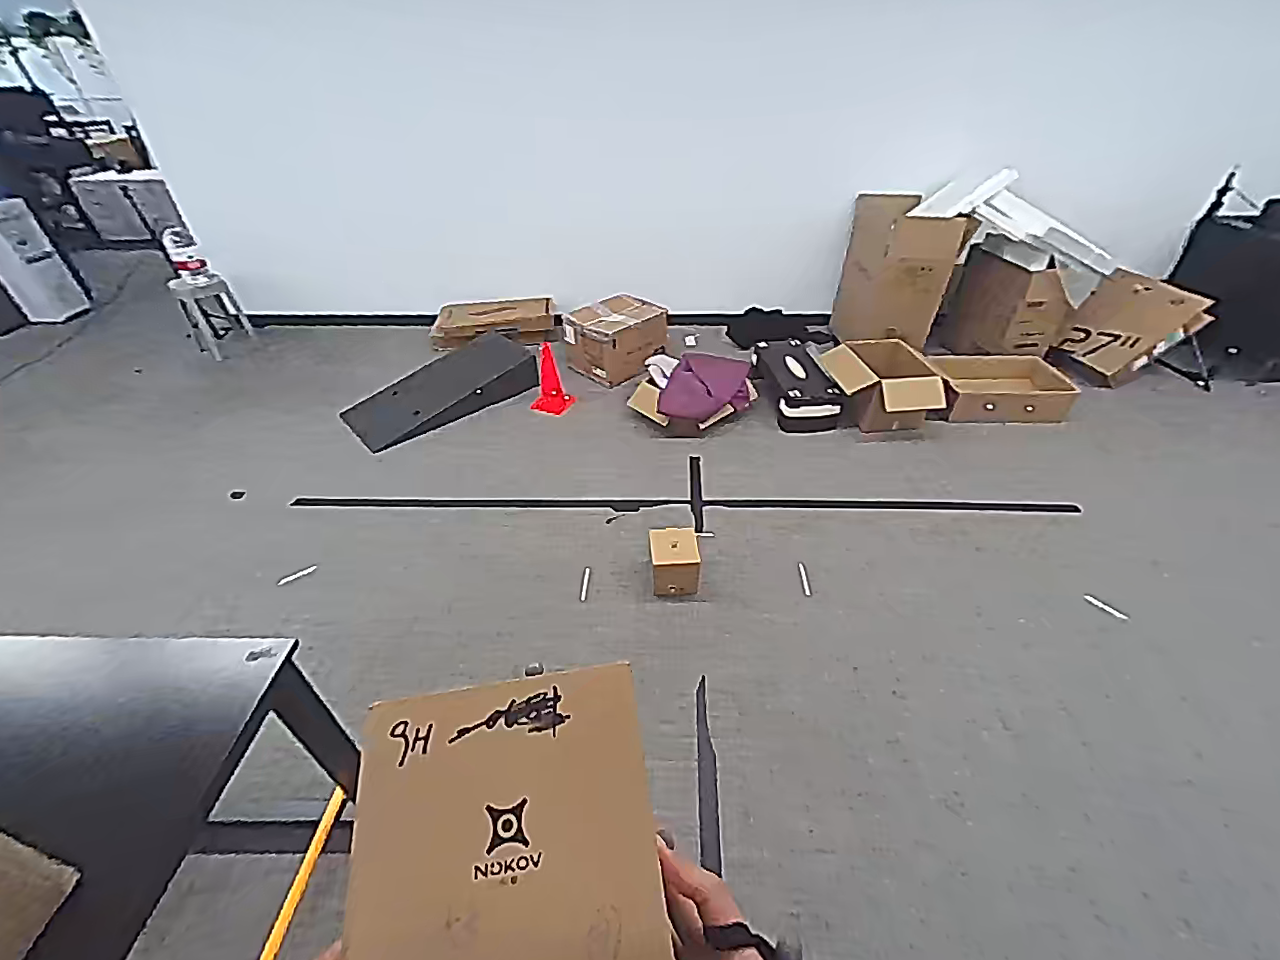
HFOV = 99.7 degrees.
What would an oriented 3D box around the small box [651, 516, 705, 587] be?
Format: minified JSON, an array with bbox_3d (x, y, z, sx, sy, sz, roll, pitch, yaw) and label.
[{"bbox_3d":[0.127,0.248,1.870,0.168,0.176,0.179,-4,40,-3],"label":"small box"}]
